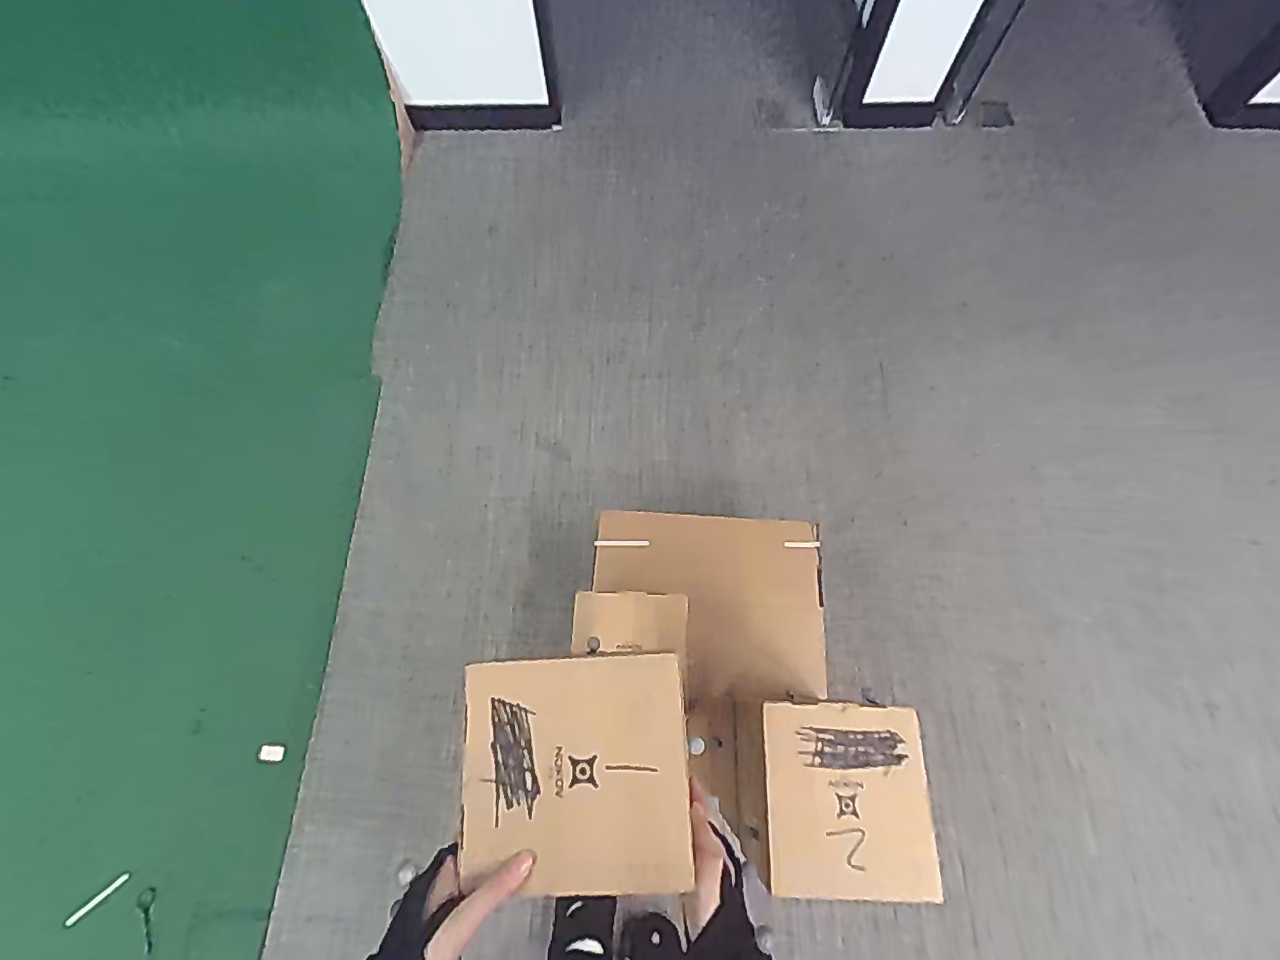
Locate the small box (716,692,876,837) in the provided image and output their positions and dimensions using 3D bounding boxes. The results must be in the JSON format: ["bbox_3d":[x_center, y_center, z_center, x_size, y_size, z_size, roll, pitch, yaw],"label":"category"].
[{"bbox_3d":[0.210,0.395,0.776,0.179,0.176,0.168,1,68,0],"label":"small box"}]

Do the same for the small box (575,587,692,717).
[{"bbox_3d":[-0.011,0.270,0.825,0.168,0.176,0.179,2,68,1],"label":"small box"}]

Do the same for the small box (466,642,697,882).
[{"bbox_3d":[-0.041,0.238,0.496,0.179,0.176,0.168,-4,74,2],"label":"small box"}]
